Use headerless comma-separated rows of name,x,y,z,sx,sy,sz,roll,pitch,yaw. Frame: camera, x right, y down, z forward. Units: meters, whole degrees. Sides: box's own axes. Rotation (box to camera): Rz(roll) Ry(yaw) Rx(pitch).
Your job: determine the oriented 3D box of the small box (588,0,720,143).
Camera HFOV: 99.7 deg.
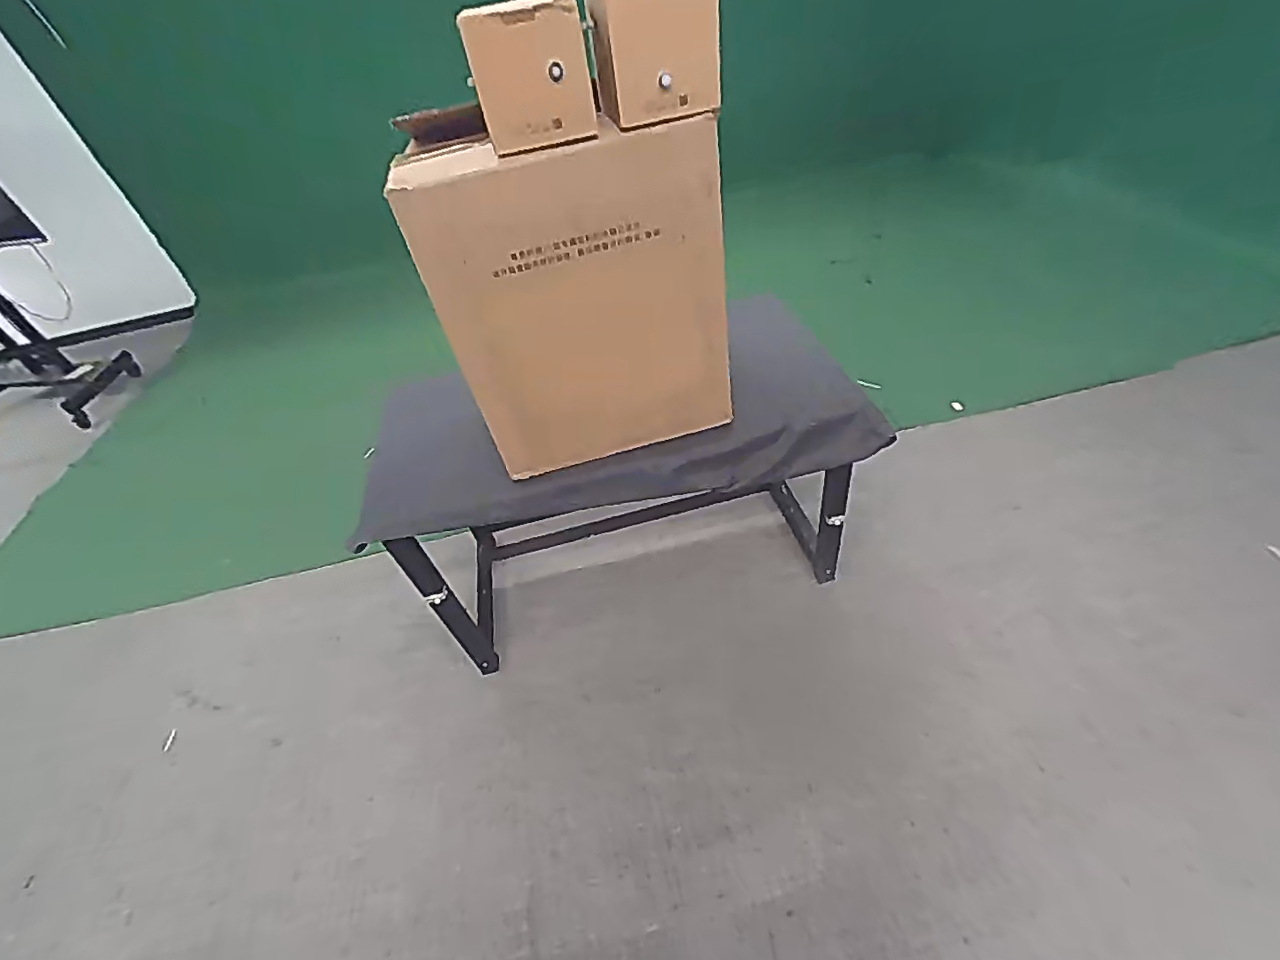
small box,0.022,-0.659,0.864,0.168,0.176,0.179,-15,44,-5
